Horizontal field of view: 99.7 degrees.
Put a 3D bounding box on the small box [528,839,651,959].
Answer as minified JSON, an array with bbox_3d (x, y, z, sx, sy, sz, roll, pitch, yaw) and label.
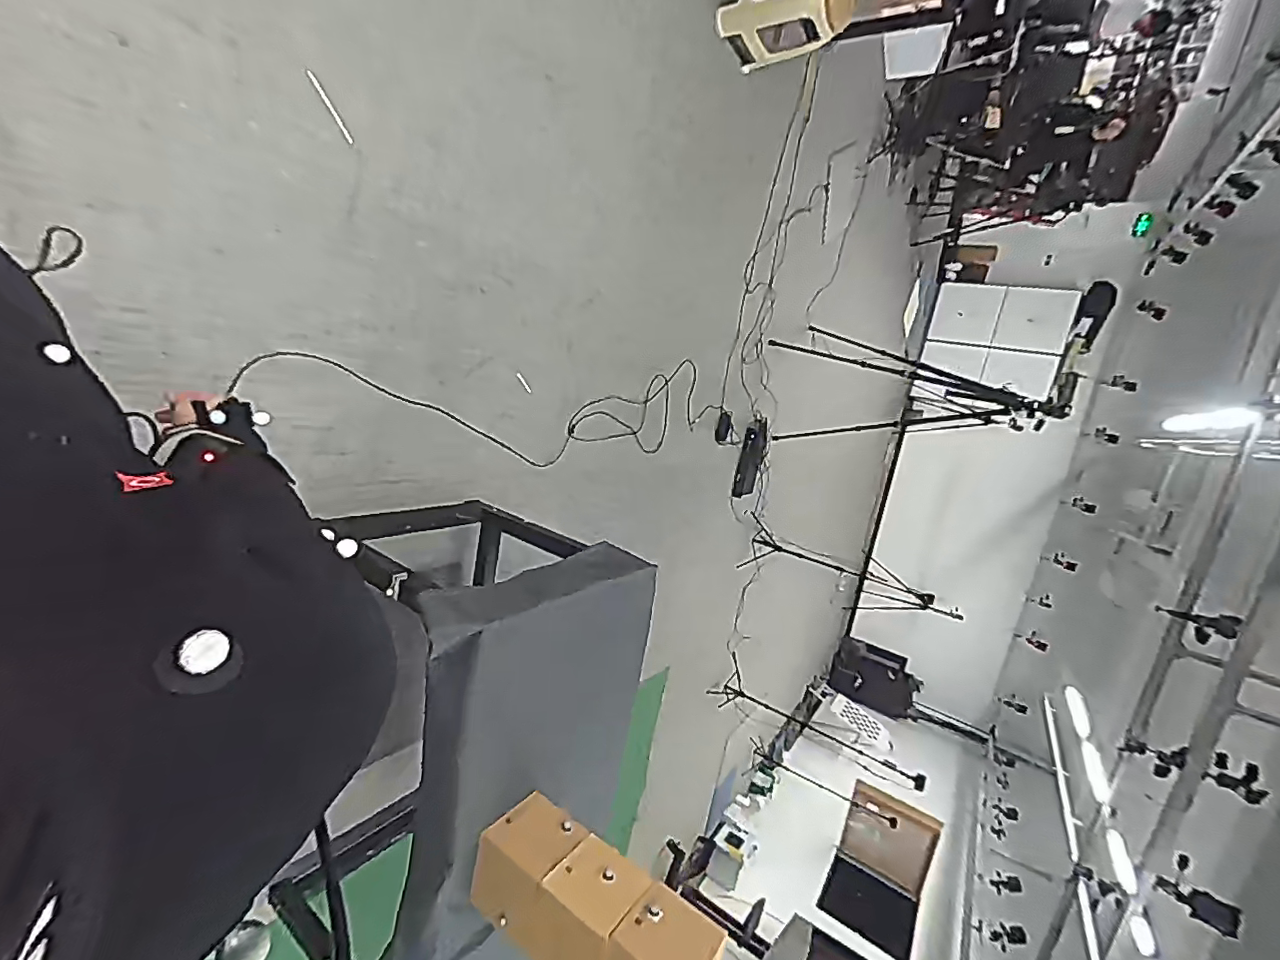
[{"bbox_3d":[-0.103,0.866,1.083,0.168,0.176,0.179,-5,110,-58],"label":"small box"}]

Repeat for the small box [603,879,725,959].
[{"bbox_3d":[0.033,0.907,1.004,0.168,0.176,0.179,-5,109,-59],"label":"small box"}]
